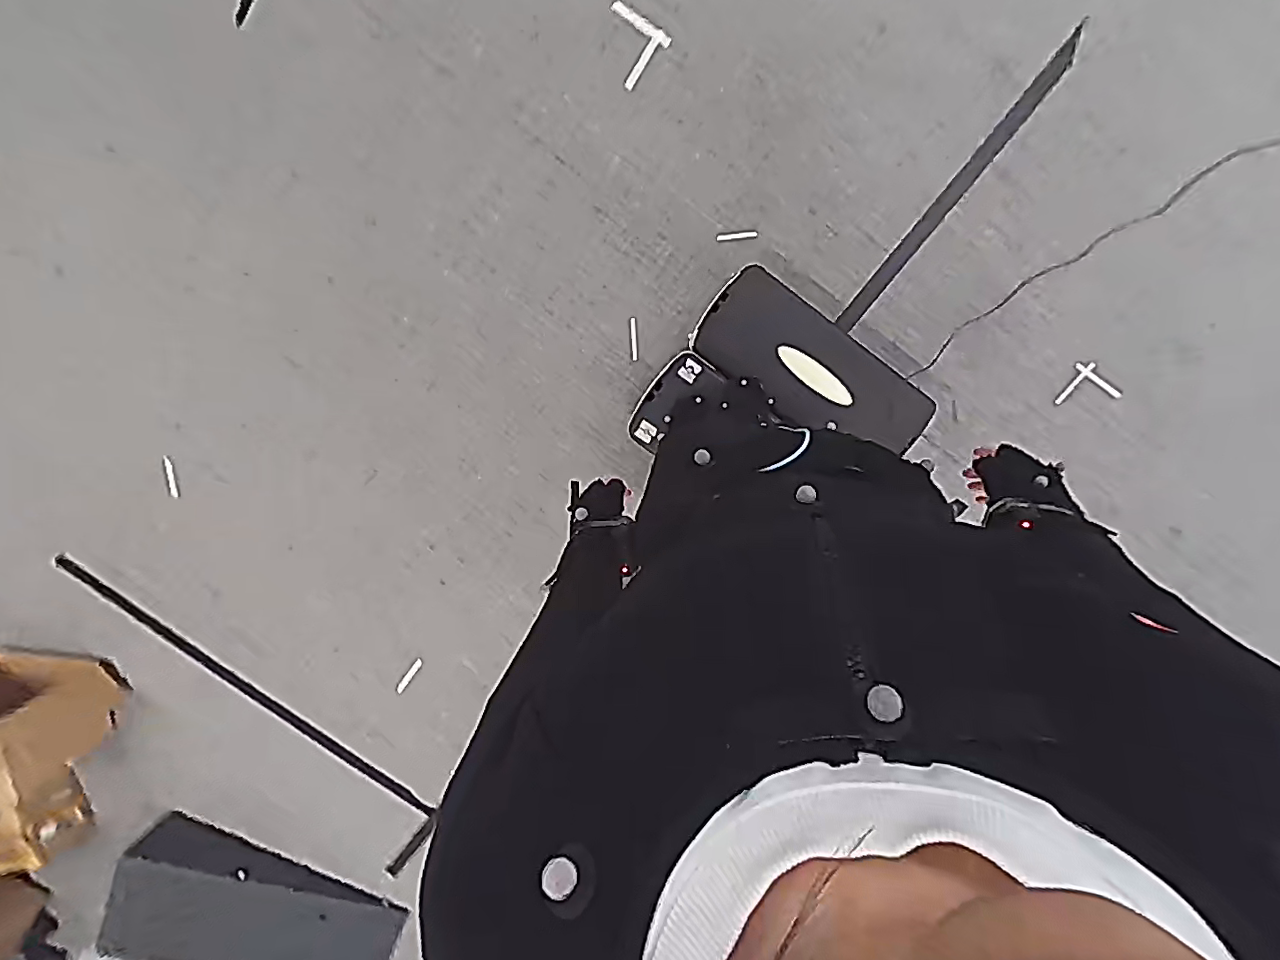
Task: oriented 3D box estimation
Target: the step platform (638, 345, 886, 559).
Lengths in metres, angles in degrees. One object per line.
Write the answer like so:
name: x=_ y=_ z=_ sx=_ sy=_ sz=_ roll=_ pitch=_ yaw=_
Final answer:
step platform: x=0.331 y=-0.078 z=1.513 sx=0.684 sy=0.204 sz=0.286 roll=36 pitch=102 yaw=-2
